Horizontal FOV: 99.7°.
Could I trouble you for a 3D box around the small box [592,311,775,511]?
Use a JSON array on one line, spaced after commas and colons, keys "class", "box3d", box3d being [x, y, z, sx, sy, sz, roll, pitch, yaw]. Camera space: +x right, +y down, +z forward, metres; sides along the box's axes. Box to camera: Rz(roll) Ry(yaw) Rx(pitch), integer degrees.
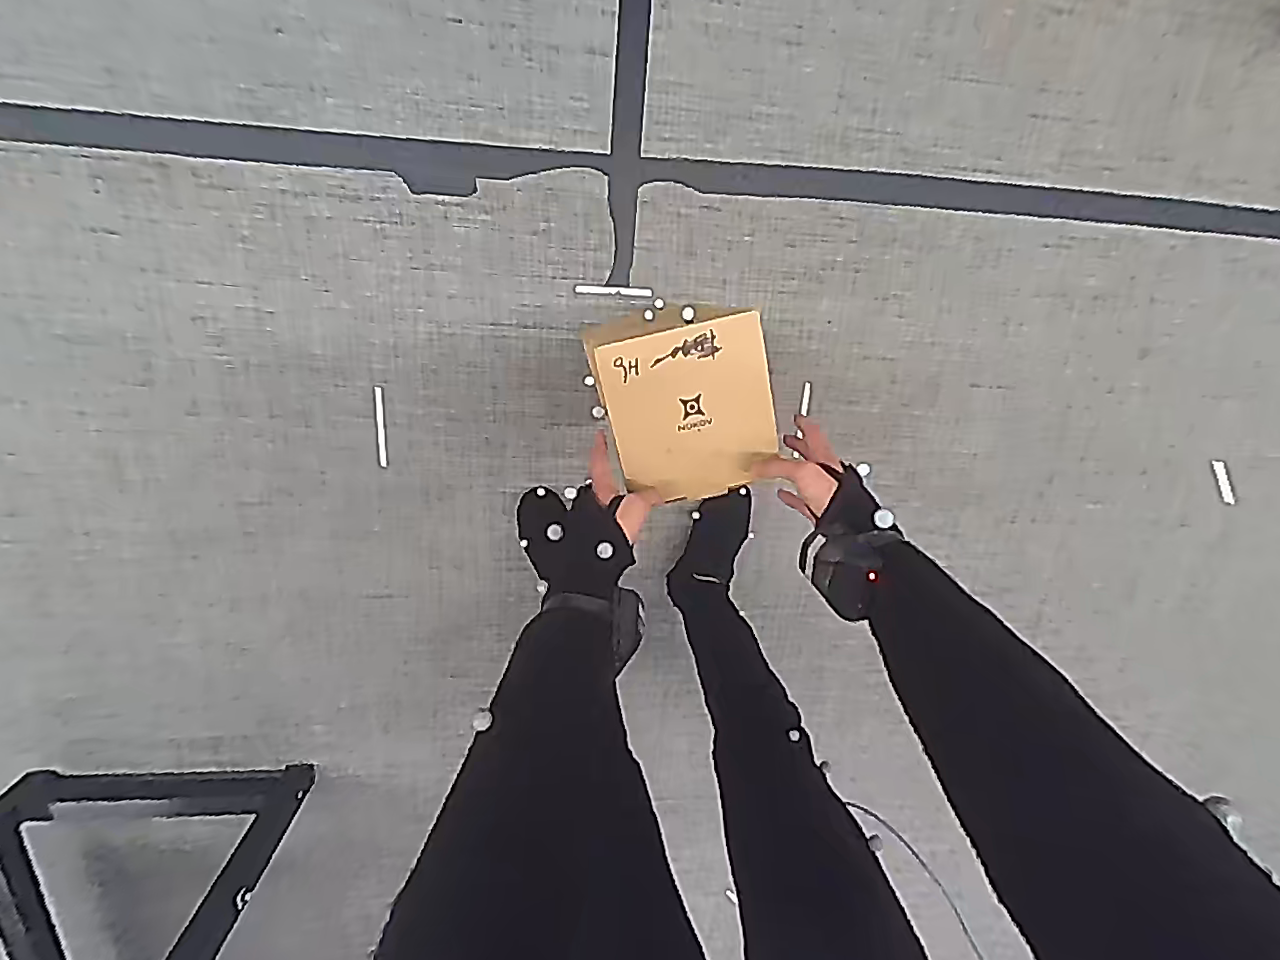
[{"class": "small box", "box3d": [0.043, -0.089, 0.624, 0.168, 0.176, 0.179, -14, 110, -2]}]
